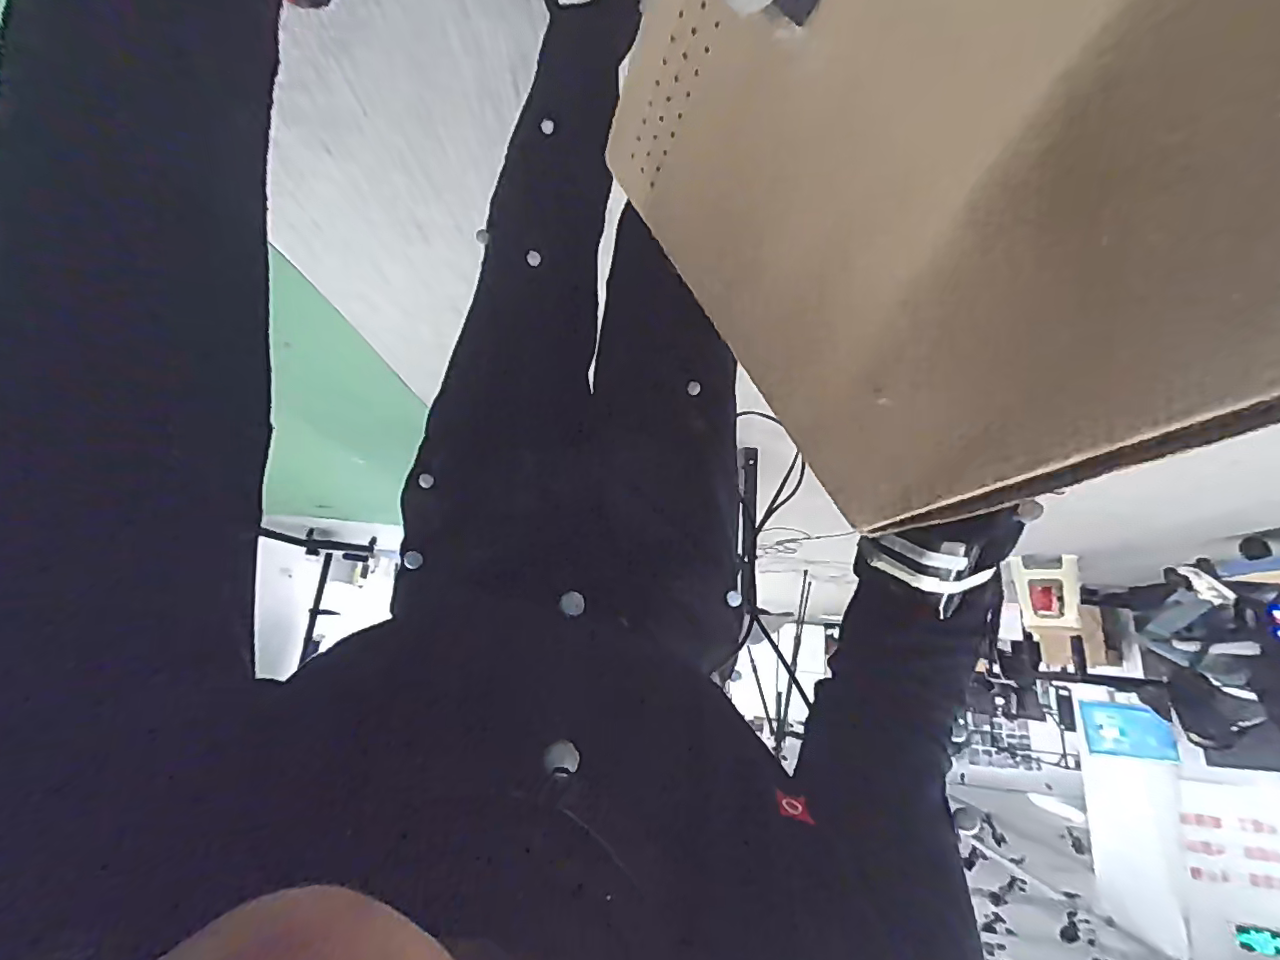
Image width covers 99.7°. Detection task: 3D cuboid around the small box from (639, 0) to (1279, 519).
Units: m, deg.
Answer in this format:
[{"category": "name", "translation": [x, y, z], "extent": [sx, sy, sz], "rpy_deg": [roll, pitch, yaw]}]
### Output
[{"category": "small box", "translation": [0.121, -0.115, 0.149], "extent": [0.168, 0.176, 0.179], "rpy_deg": [-29, 173, -24]}]
